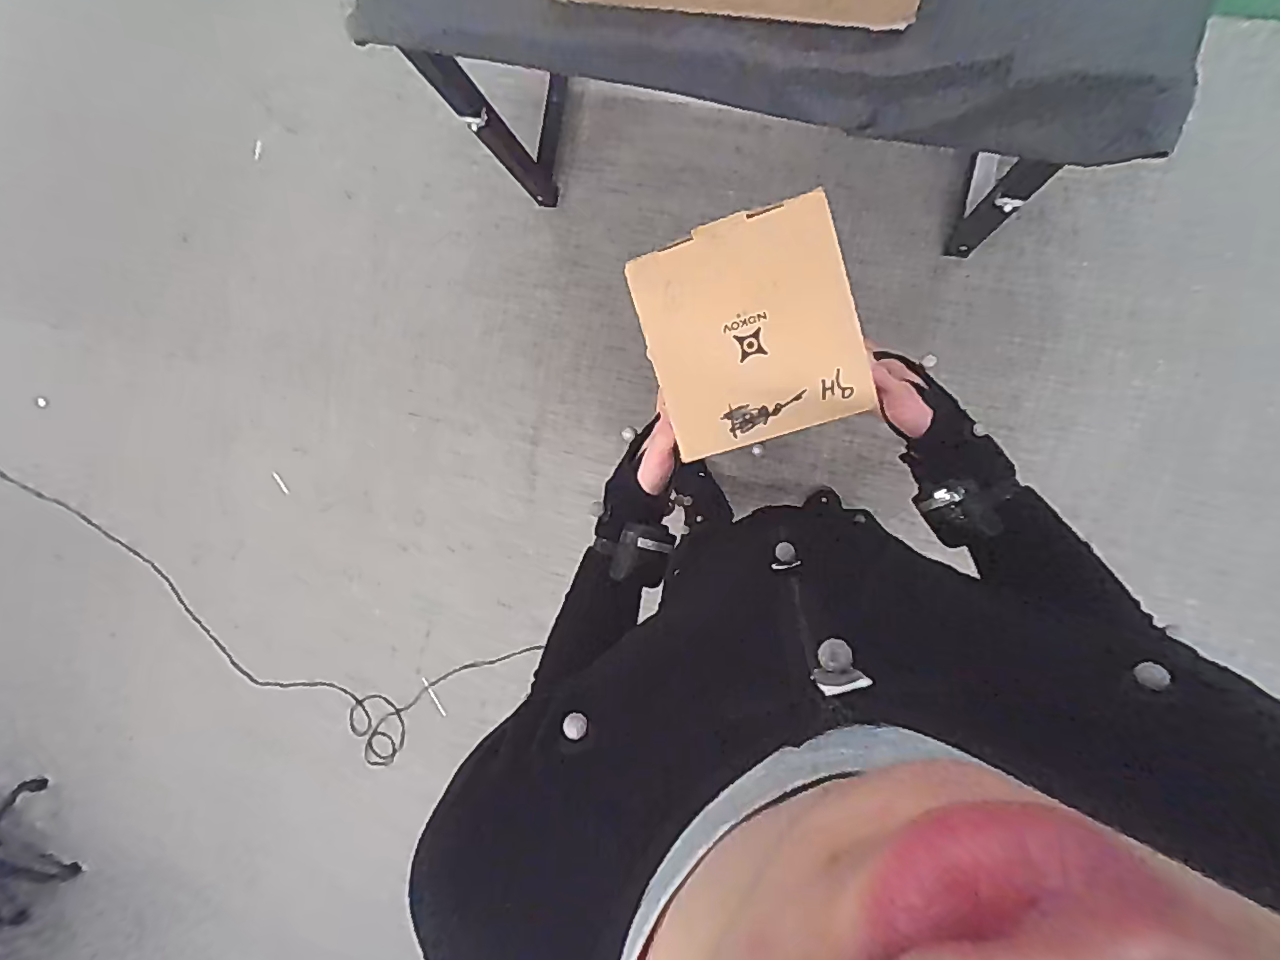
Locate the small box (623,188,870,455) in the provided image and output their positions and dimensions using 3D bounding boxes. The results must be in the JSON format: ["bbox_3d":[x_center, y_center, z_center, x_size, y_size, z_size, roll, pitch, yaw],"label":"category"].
[{"bbox_3d":[0.100,-0.136,0.516,0.168,0.176,0.179,-15,97,15],"label":"small box"}]
